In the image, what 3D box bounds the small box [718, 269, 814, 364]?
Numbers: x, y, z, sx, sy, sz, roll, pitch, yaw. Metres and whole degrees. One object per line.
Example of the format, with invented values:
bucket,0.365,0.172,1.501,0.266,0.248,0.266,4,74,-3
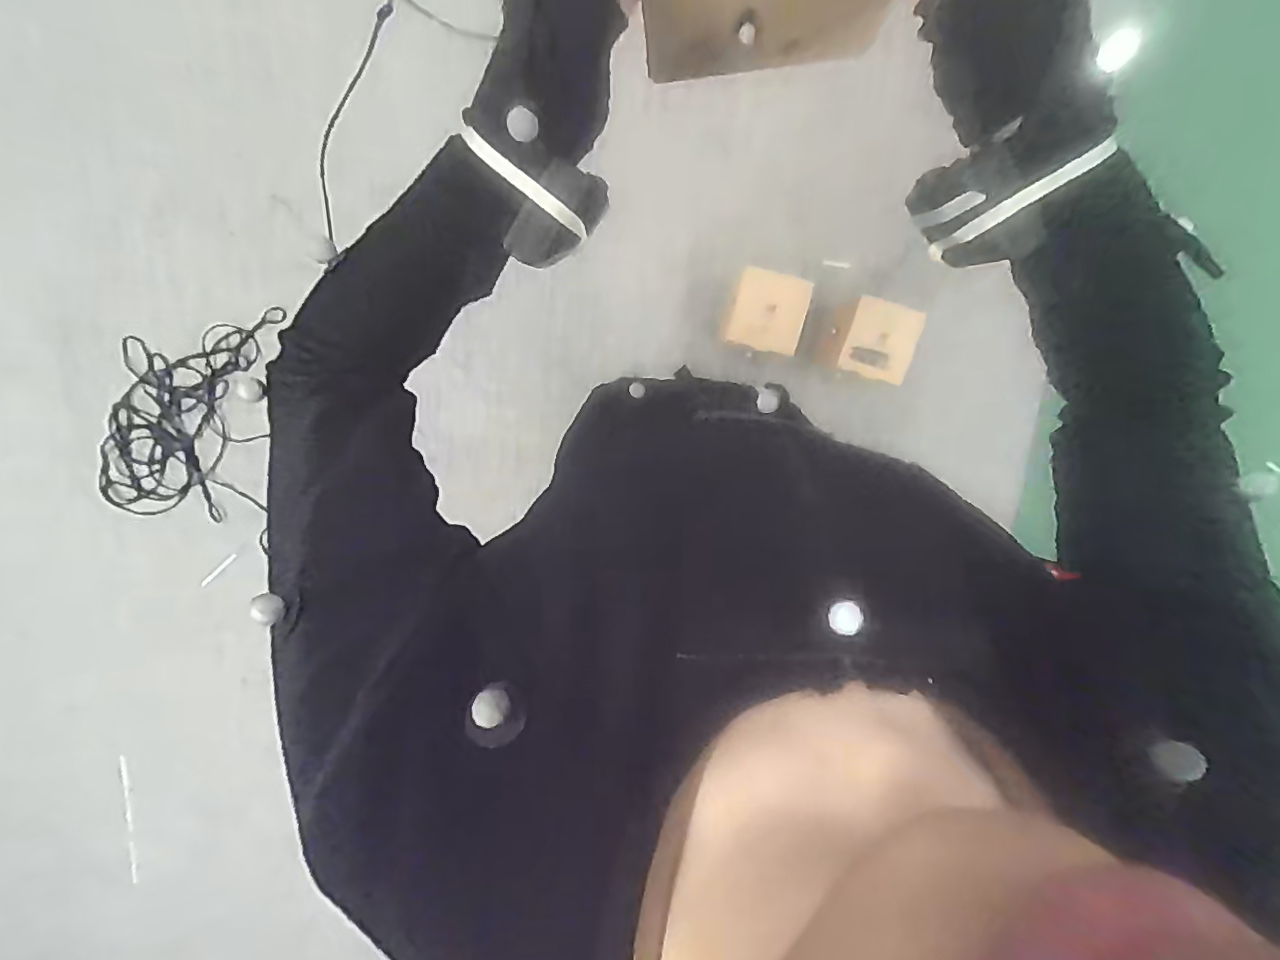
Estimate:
small box,0.298,-0.390,1.322,0.168,0.176,0.179,15,100,-2
